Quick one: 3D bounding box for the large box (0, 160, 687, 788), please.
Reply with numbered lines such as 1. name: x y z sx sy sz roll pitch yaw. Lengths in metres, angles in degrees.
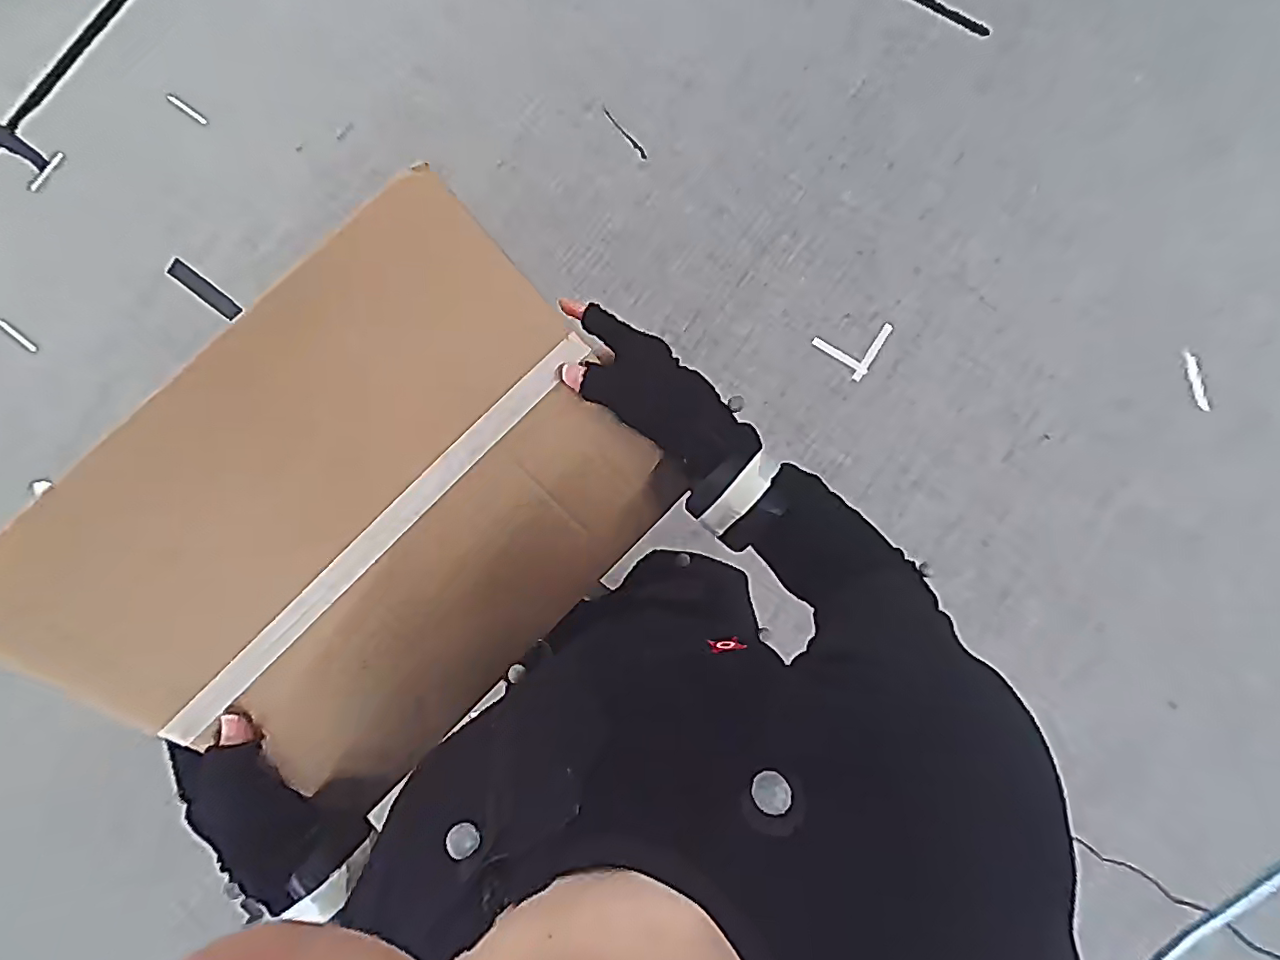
1. large box: -0.238 -0.011 0.543 0.408 0.320 0.320 -45 116 -4
